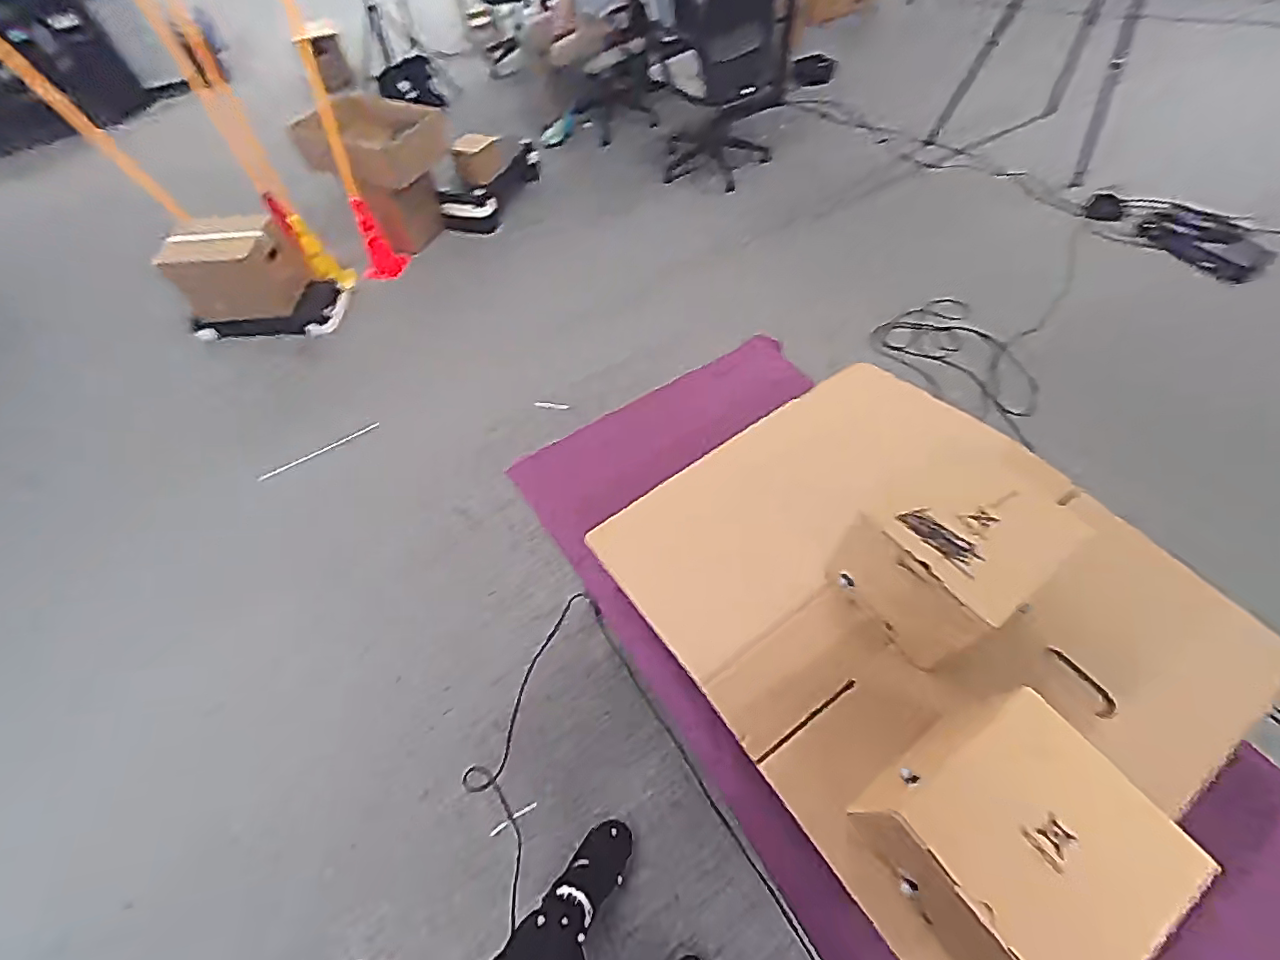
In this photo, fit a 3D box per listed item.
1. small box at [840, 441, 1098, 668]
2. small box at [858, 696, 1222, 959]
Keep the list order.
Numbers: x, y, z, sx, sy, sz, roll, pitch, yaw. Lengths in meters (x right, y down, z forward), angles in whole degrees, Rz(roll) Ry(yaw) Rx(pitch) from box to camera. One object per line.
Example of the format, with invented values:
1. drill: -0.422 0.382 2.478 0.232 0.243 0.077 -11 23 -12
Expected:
1. small box: 0.363 0.093 0.638 0.179 0.176 0.168 -31 62 -17
2. small box: 0.333 0.330 0.492 0.179 0.176 0.168 -32 62 -15
